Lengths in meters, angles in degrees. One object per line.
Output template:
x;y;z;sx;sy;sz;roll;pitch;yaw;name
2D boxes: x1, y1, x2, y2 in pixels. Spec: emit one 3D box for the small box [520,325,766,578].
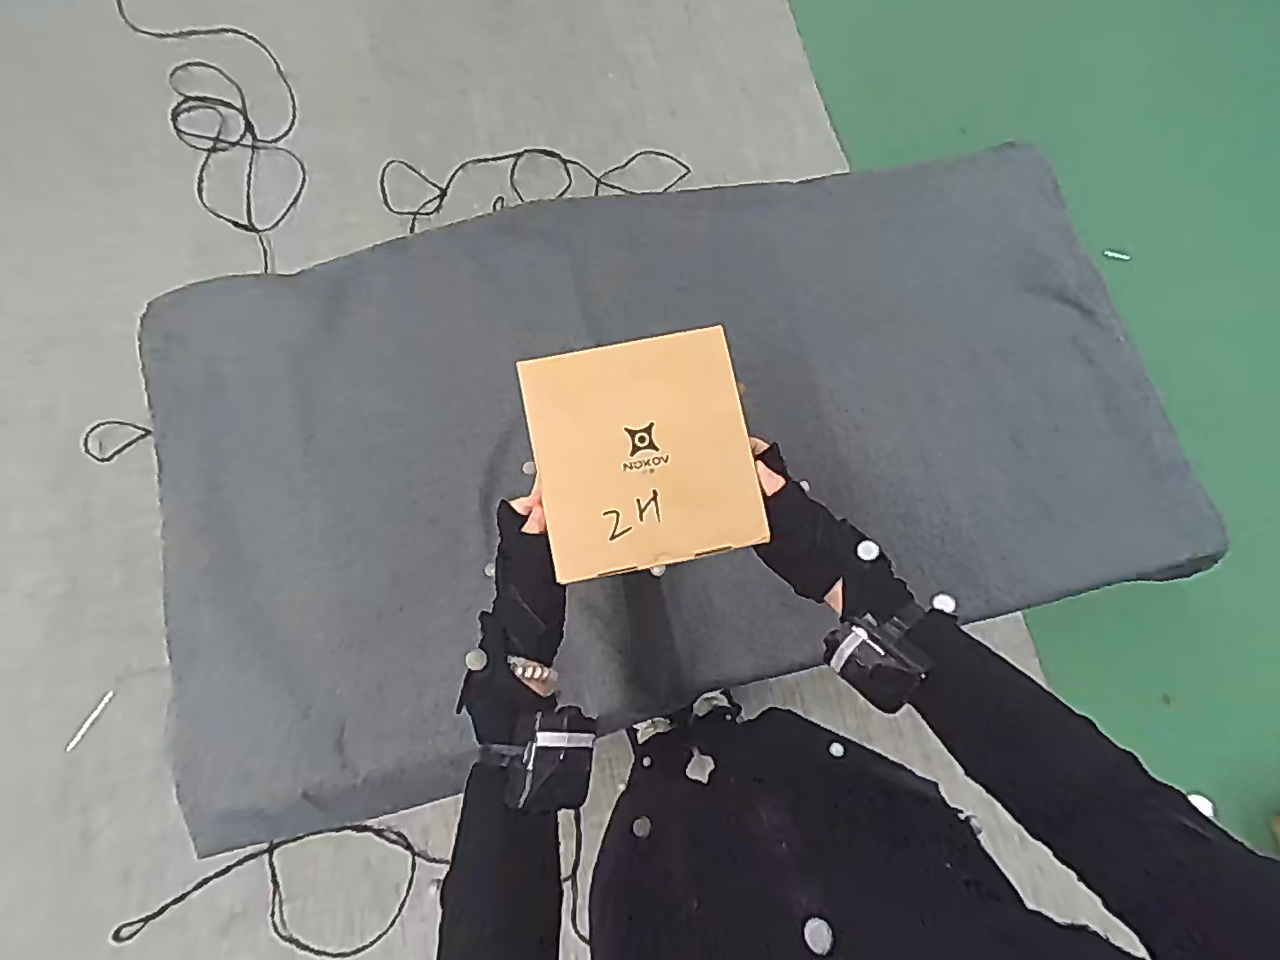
-0.003;-0.015;0.492;0.168;0.176;0.179;-11;84;-3;small box
